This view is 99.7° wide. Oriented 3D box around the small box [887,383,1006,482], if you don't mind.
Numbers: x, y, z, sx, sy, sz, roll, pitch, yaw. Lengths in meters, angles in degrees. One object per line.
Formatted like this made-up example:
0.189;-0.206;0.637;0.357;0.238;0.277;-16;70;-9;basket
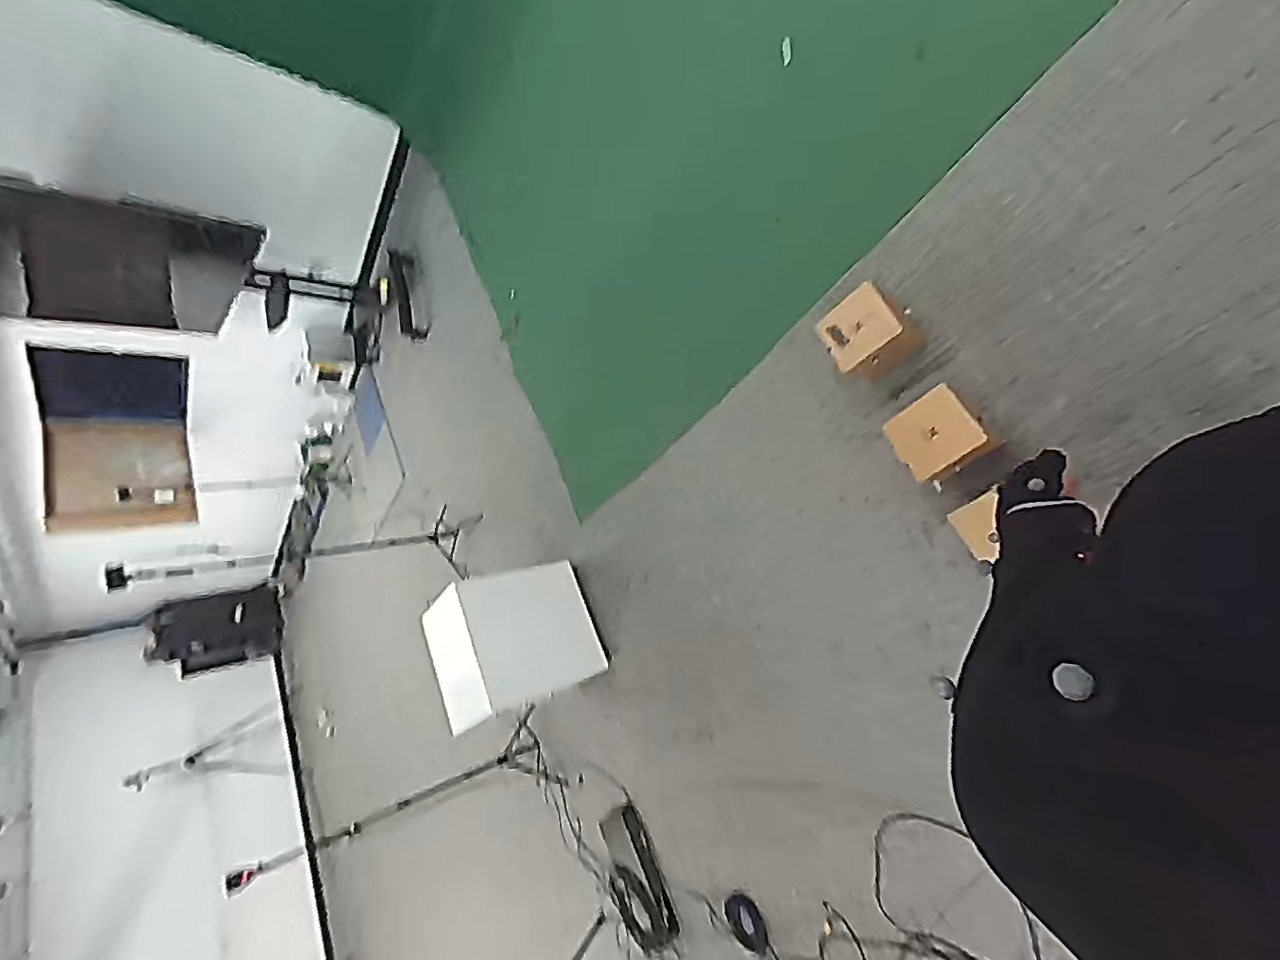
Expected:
0.741;-0.111;1.298;0.179;0.176;0.168;-46;60;38;small box

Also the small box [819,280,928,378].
0.613;-0.386;1.418;0.179;0.176;0.168;-40;64;39;small box

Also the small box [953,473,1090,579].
0.844;0.098;1.195;0.179;0.176;0.168;-44;62;38;small box
